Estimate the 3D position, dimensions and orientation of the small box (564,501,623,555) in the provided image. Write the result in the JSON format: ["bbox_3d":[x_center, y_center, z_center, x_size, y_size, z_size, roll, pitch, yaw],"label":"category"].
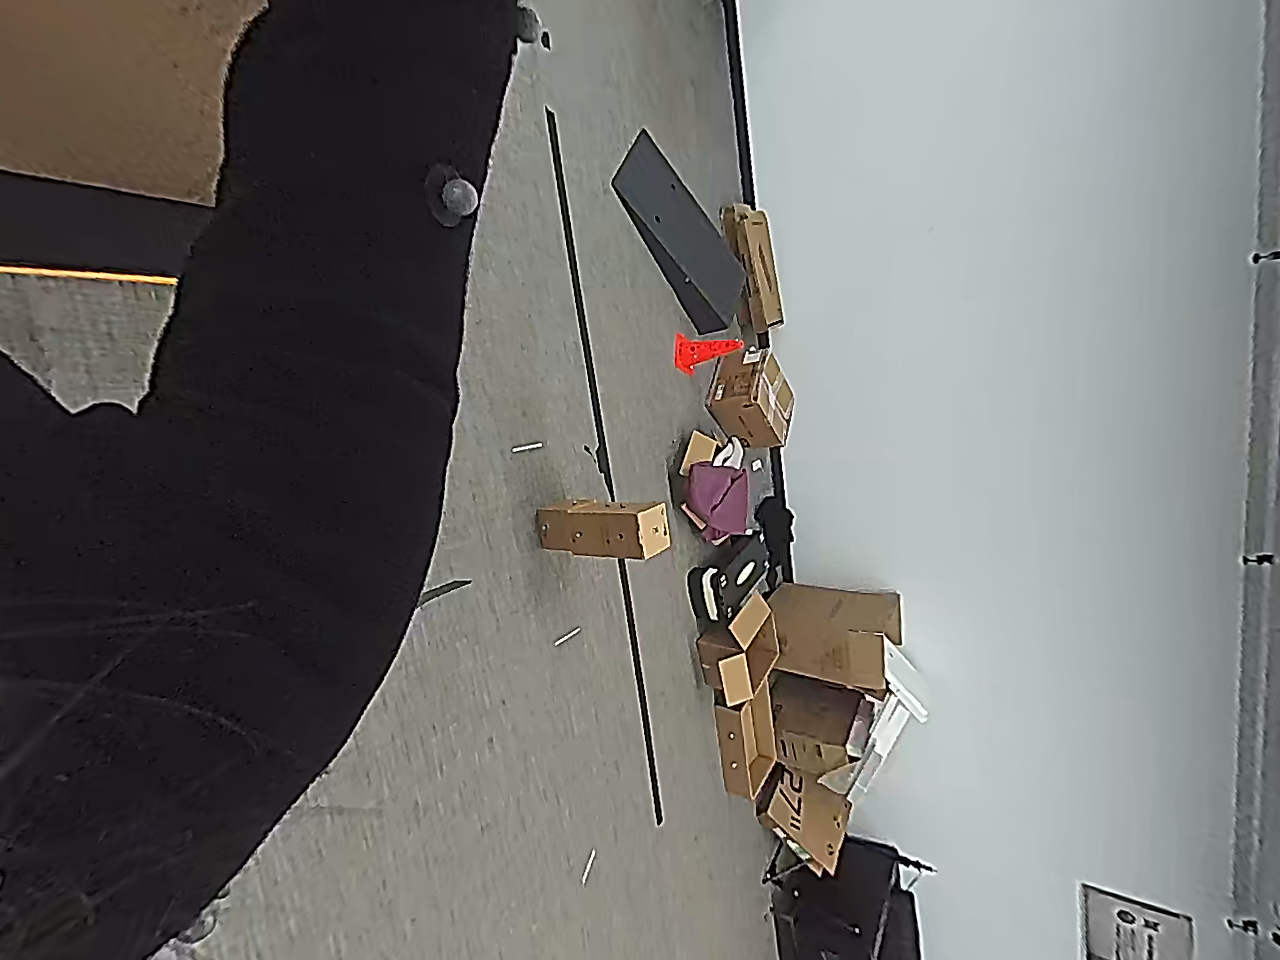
[{"bbox_3d":[-0.160,0.176,2.033,0.179,0.176,0.168,-19,103,-53],"label":"small box"}]

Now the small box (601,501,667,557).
[{"bbox_3d":[-0.027,0.172,1.936,0.179,0.176,0.168,-18,103,-53],"label":"small box"}]

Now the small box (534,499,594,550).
[{"bbox_3d":[-0.290,0.170,2.134,0.179,0.176,0.168,-19,104,-52],"label":"small box"}]
